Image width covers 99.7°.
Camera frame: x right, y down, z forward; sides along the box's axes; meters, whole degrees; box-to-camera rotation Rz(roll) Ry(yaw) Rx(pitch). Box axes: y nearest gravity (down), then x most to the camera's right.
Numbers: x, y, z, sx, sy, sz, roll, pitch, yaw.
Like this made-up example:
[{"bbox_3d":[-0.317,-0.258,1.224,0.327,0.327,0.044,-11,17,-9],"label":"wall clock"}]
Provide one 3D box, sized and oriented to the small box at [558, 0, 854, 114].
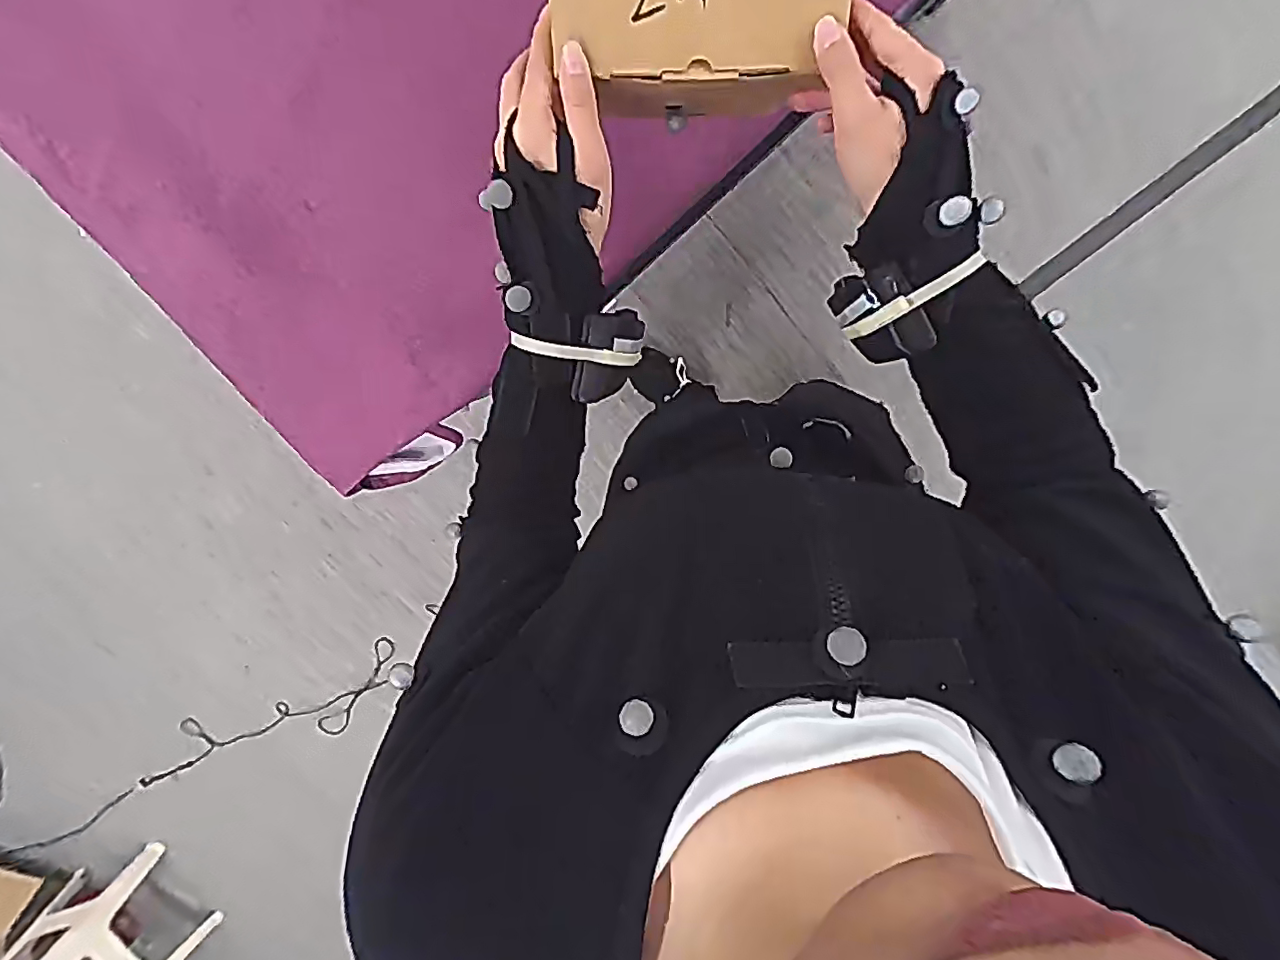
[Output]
[{"bbox_3d":[0.030,-0.348,0.339,0.168,0.176,0.179,-3,117,-2],"label":"small box"}]
